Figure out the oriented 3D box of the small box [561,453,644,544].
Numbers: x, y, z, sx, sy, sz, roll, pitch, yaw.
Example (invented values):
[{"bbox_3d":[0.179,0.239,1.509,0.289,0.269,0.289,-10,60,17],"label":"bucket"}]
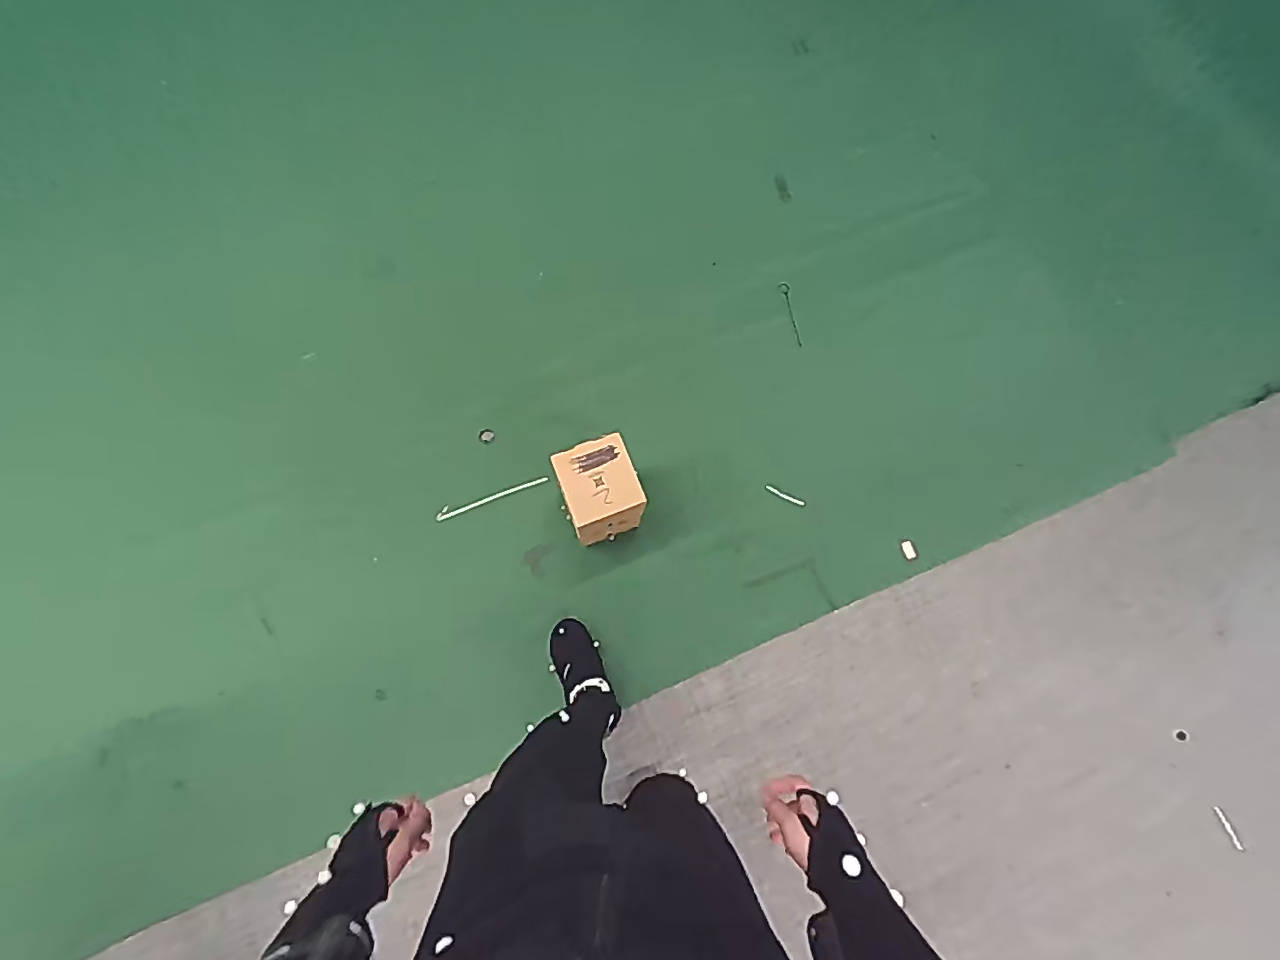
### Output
[{"bbox_3d":[-0.099,0.054,1.423,0.168,0.176,0.179,-20,79,-7],"label":"small box"}]
